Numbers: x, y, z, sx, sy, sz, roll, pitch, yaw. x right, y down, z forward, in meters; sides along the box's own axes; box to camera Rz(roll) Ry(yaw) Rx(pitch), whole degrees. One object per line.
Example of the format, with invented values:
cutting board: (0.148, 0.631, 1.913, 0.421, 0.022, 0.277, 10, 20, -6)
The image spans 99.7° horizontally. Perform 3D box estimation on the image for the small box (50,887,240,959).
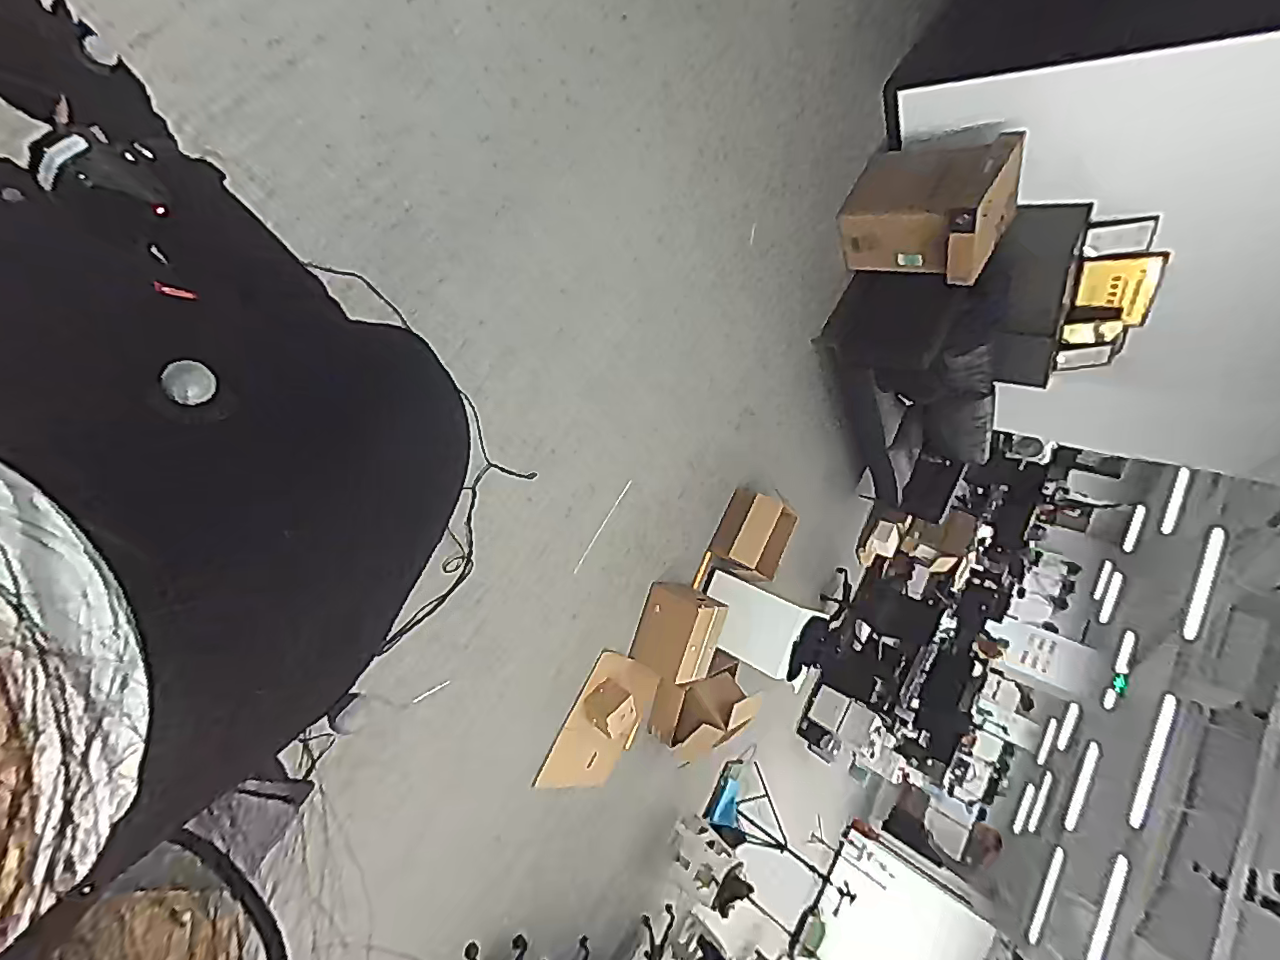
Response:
small box: (-0.633, 0.654, 0.670, 0.179, 0.176, 0.168, -55, 140, -16)
